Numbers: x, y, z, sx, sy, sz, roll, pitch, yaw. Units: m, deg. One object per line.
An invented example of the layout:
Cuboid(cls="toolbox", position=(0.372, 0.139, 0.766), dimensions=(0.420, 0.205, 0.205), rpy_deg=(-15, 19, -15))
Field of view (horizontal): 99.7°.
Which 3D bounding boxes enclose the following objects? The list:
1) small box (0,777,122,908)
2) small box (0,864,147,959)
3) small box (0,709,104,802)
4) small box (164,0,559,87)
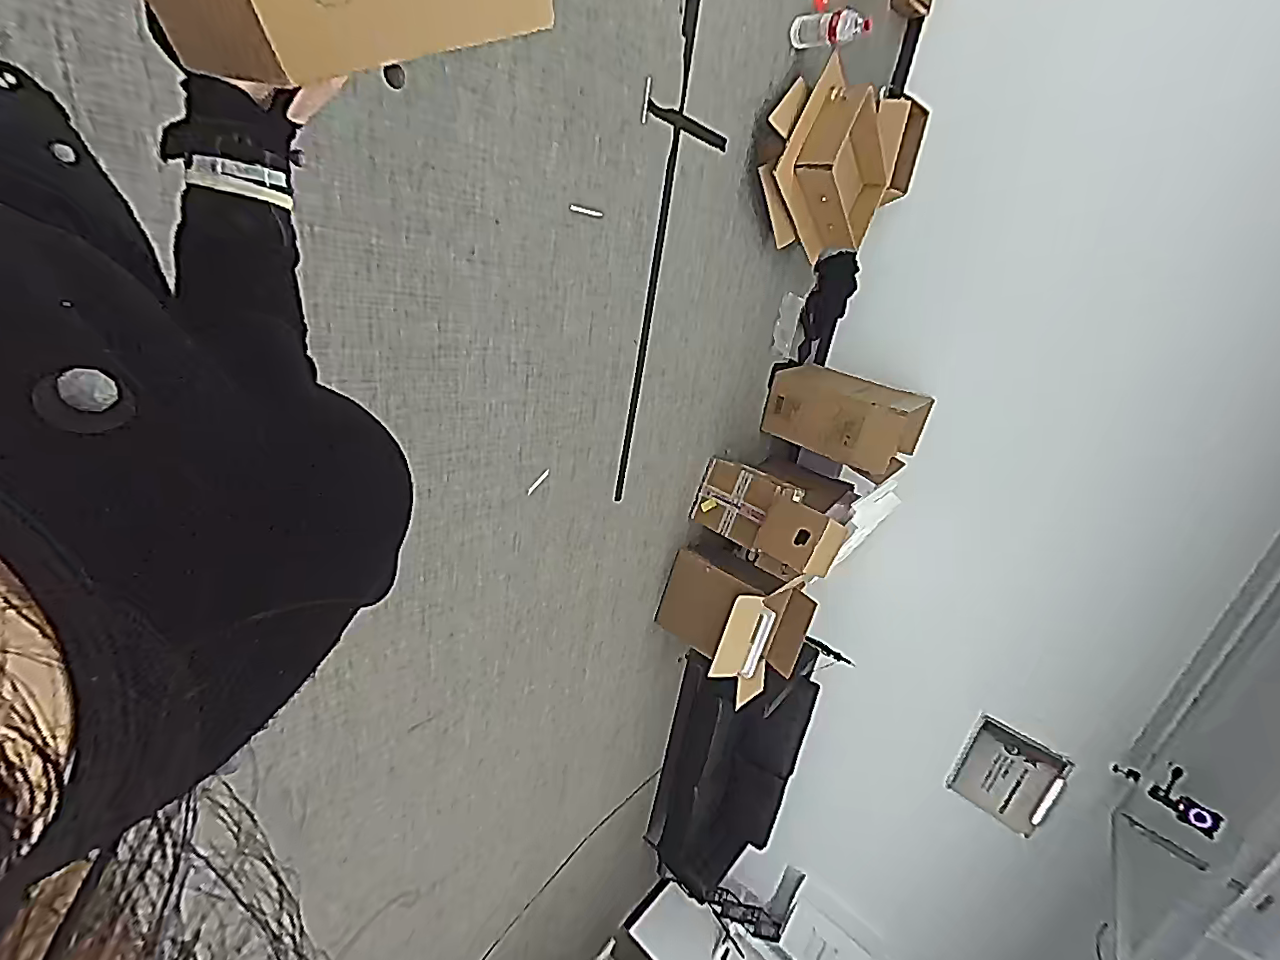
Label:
Cuboid(cls="small box", position=(-0.803, 0.528, 0.706), dimensions=(0.168, 0.176, 0.179), rpy_deg=(-14, 123, -49))
Cuboid(cls="small box", position=(-0.682, 0.592, 0.618), dimensions=(0.168, 0.176, 0.179), rpy_deg=(-13, 124, -48))
Cuboid(cls="small box", position=(-0.923, 0.471, 0.799), dimensions=(0.168, 0.176, 0.179), rpy_deg=(-10, 119, -50))
Cuboid(cls="small box", position=(-0.175, -0.330, 0.290), dimensions=(0.179, 0.176, 0.168), rpy_deg=(-41, 145, -28))
